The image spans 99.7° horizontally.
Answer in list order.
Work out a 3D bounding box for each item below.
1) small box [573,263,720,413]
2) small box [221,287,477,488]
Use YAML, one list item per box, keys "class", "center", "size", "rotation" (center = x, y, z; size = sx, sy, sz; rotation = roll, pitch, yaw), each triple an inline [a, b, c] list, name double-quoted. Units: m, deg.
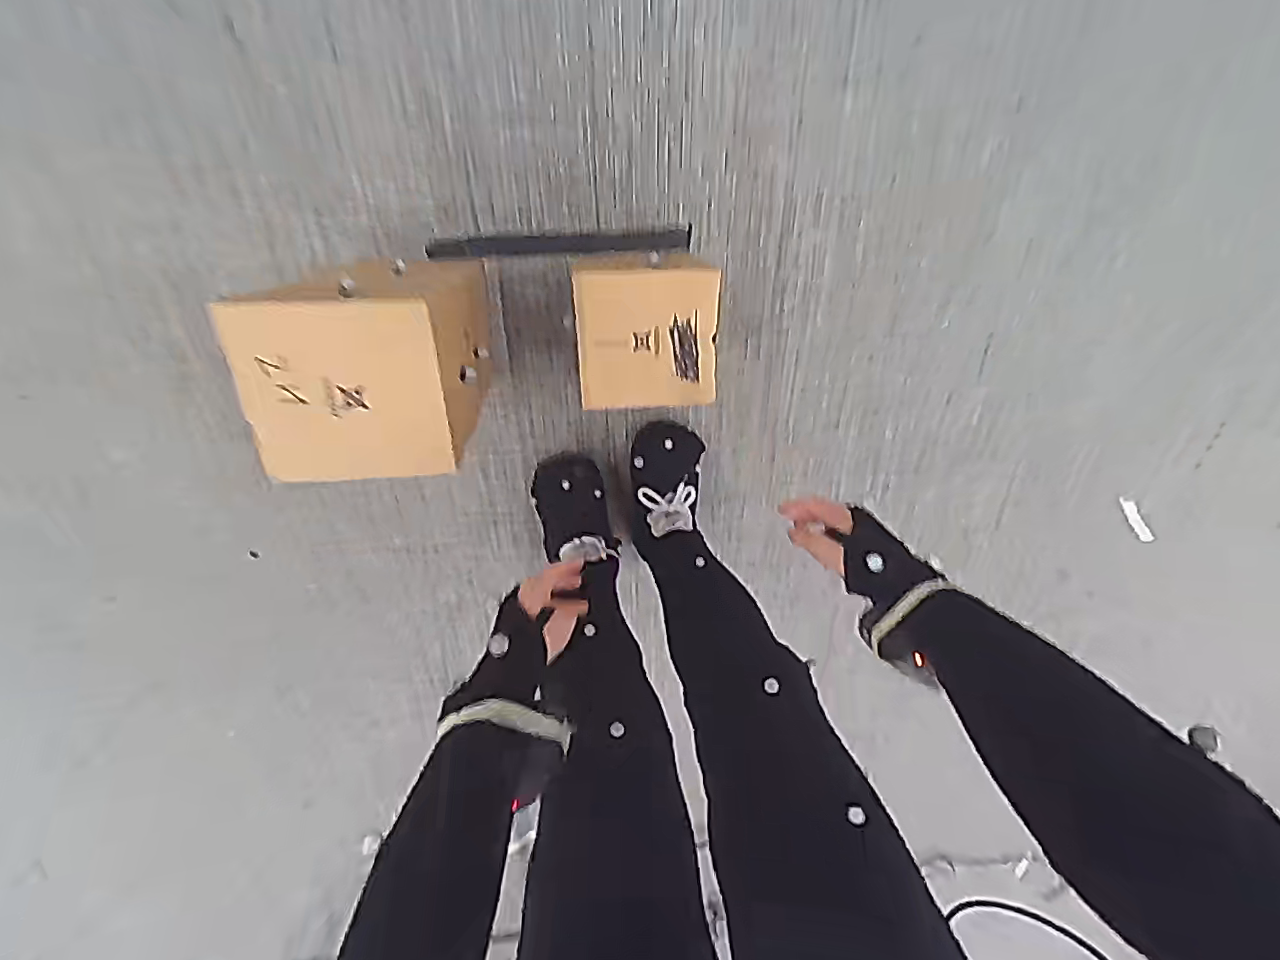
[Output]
- class: "small box"
  center: [0.001, -0.199, 0.737]
  size: [0.179, 0.176, 0.168]
  rotation: [-3, 117, -4]
- class: "small box"
  center: [-0.272, -0.105, 0.562]
  size: [0.179, 0.176, 0.168]
  rotation: [-3, 116, -6]
